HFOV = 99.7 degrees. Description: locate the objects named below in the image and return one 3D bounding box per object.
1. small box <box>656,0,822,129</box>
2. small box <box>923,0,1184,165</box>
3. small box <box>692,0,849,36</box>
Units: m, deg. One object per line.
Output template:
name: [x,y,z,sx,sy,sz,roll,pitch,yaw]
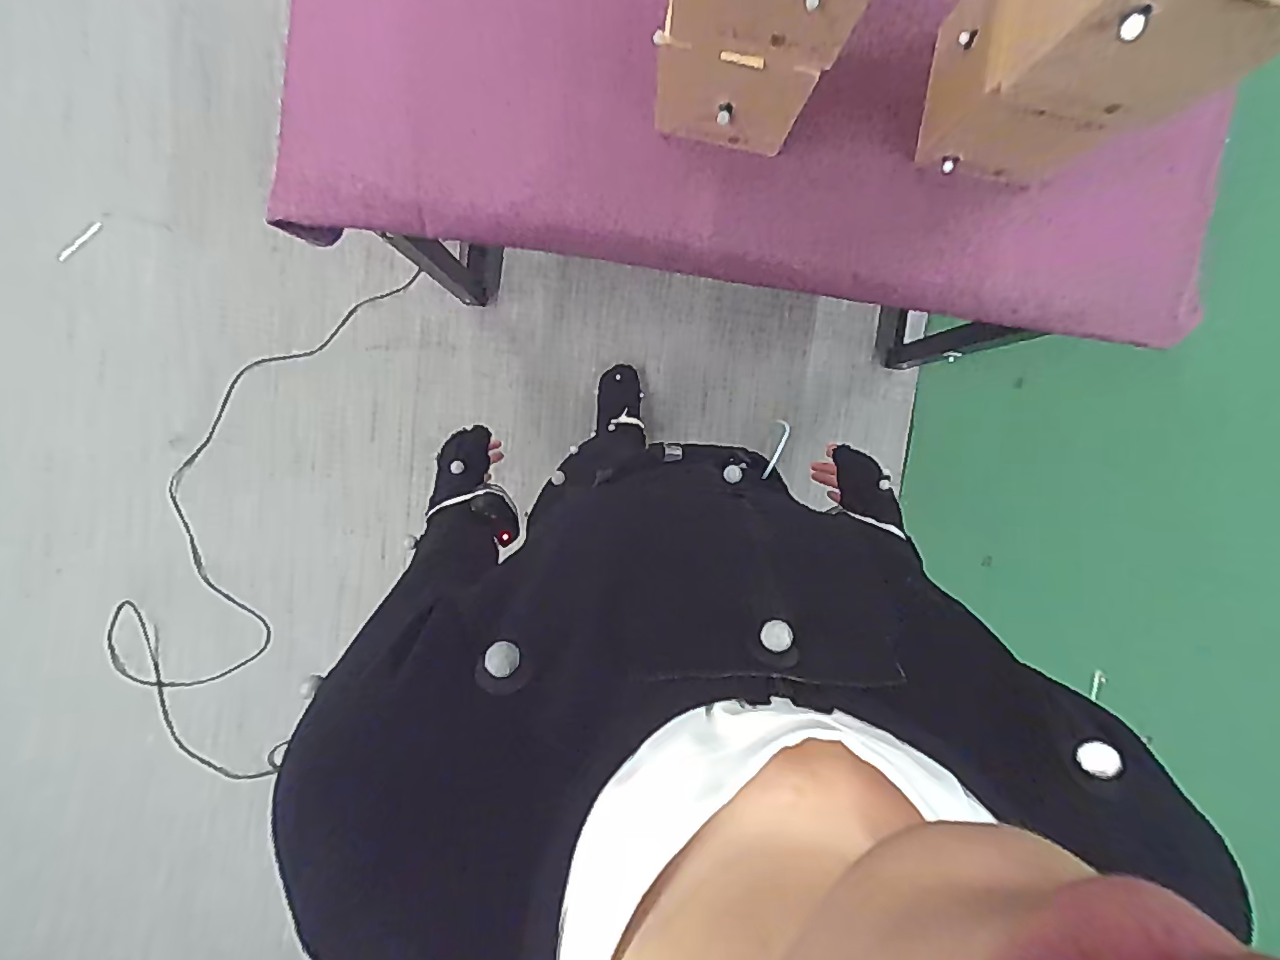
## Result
small box: [0.113,-0.532,0.600,0.168,0.176,0.179,11,96,-3]
small box: [0.453,-0.493,0.610,0.168,0.176,0.179,12,96,-4]
small box: [0.124,-0.516,0.438,0.168,0.176,0.179,10,95,-3]
